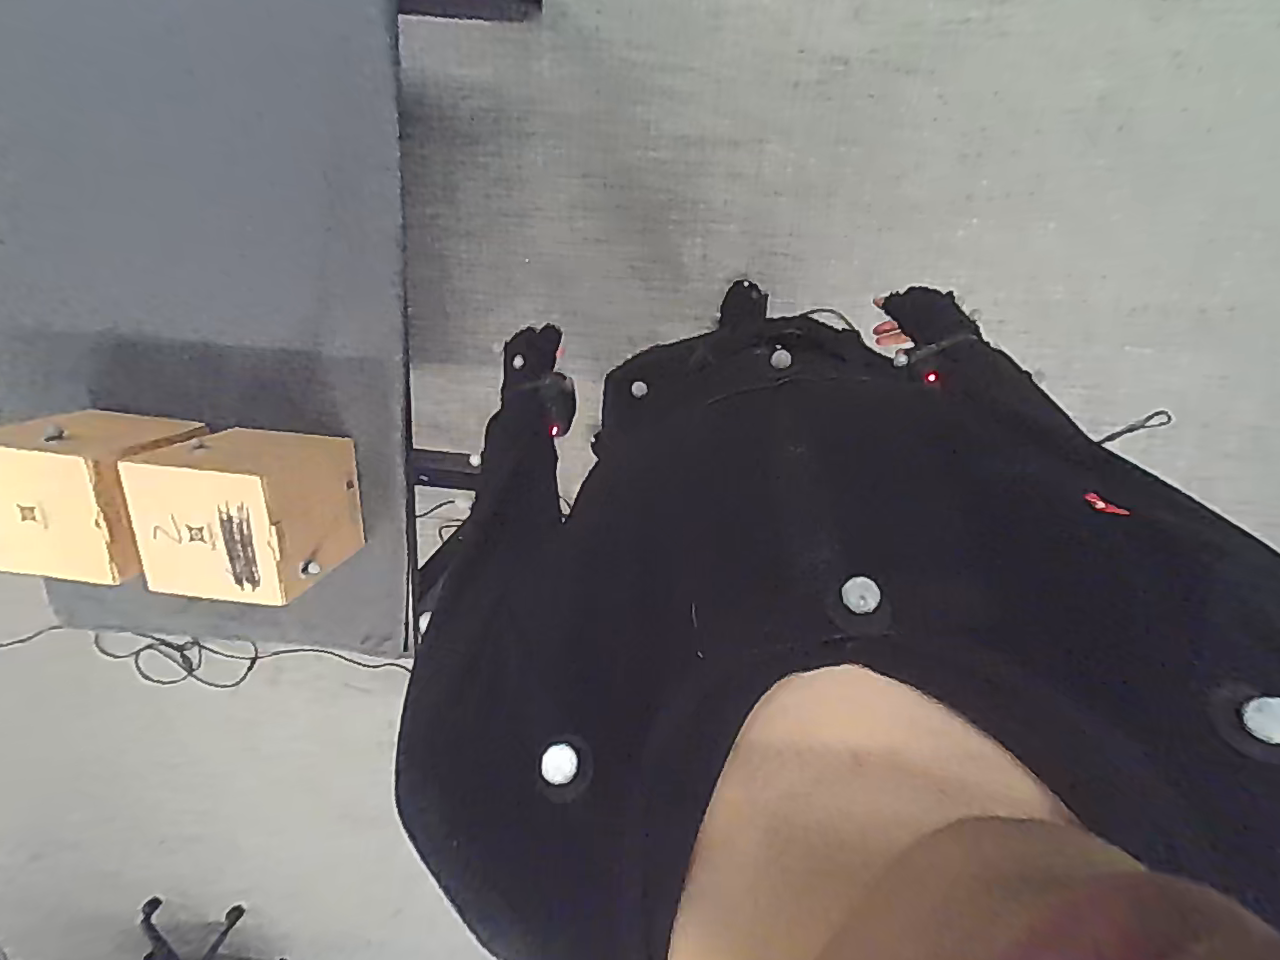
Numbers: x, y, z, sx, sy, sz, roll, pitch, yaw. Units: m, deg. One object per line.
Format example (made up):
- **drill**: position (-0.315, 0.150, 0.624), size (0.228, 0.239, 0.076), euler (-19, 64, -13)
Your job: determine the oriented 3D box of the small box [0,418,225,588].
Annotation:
- **small box**: position (-0.700, 0.020, 0.708), size (0.179, 0.176, 0.168), euler (7, 109, 1)
